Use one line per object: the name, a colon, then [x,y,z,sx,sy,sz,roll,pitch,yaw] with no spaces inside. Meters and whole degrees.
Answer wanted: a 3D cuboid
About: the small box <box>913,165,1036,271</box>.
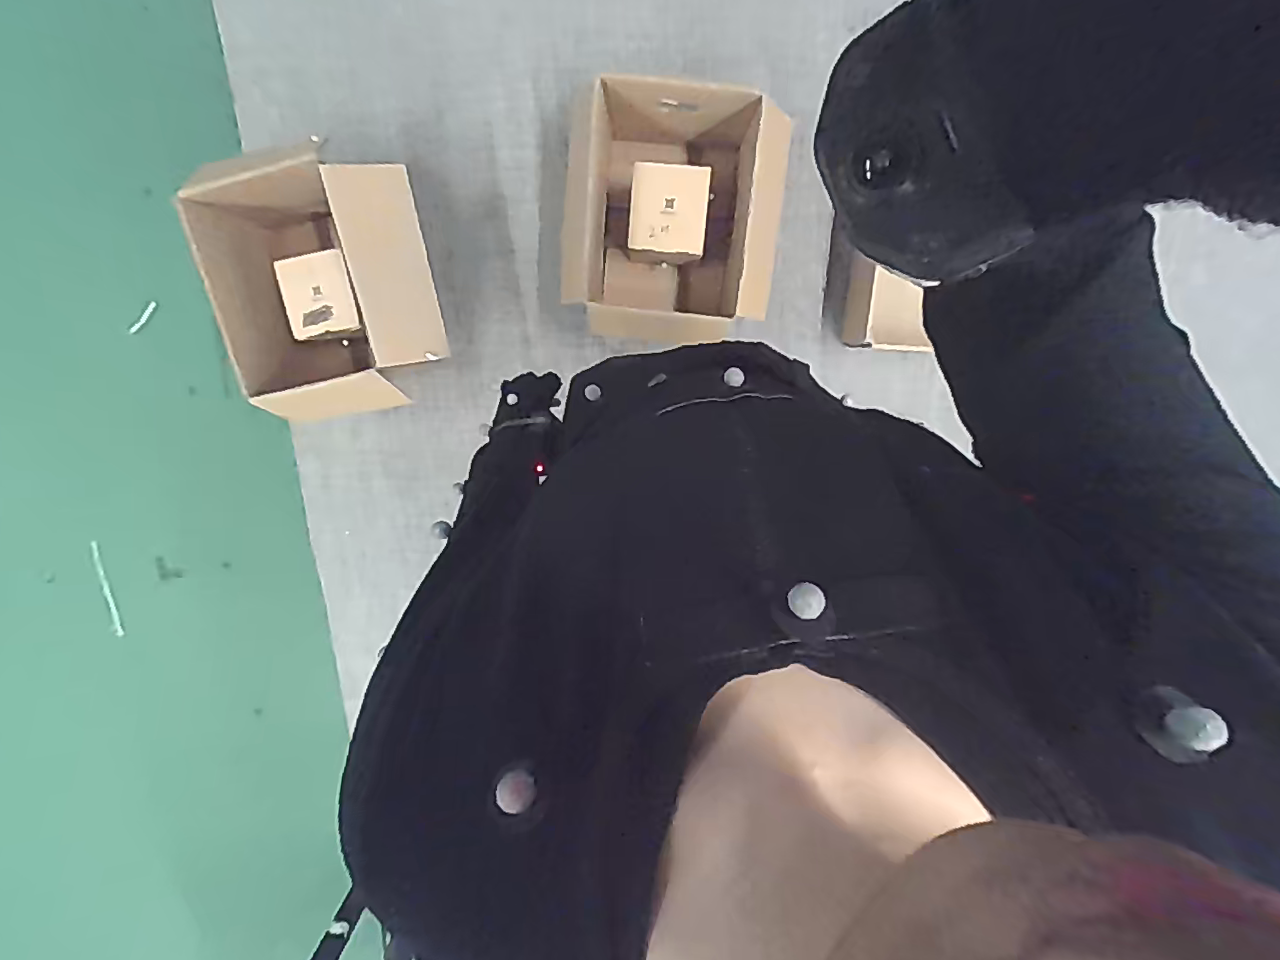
small box: [0.727,-0.570,1.194,0.168,0.176,0.179,-2,103,2]
